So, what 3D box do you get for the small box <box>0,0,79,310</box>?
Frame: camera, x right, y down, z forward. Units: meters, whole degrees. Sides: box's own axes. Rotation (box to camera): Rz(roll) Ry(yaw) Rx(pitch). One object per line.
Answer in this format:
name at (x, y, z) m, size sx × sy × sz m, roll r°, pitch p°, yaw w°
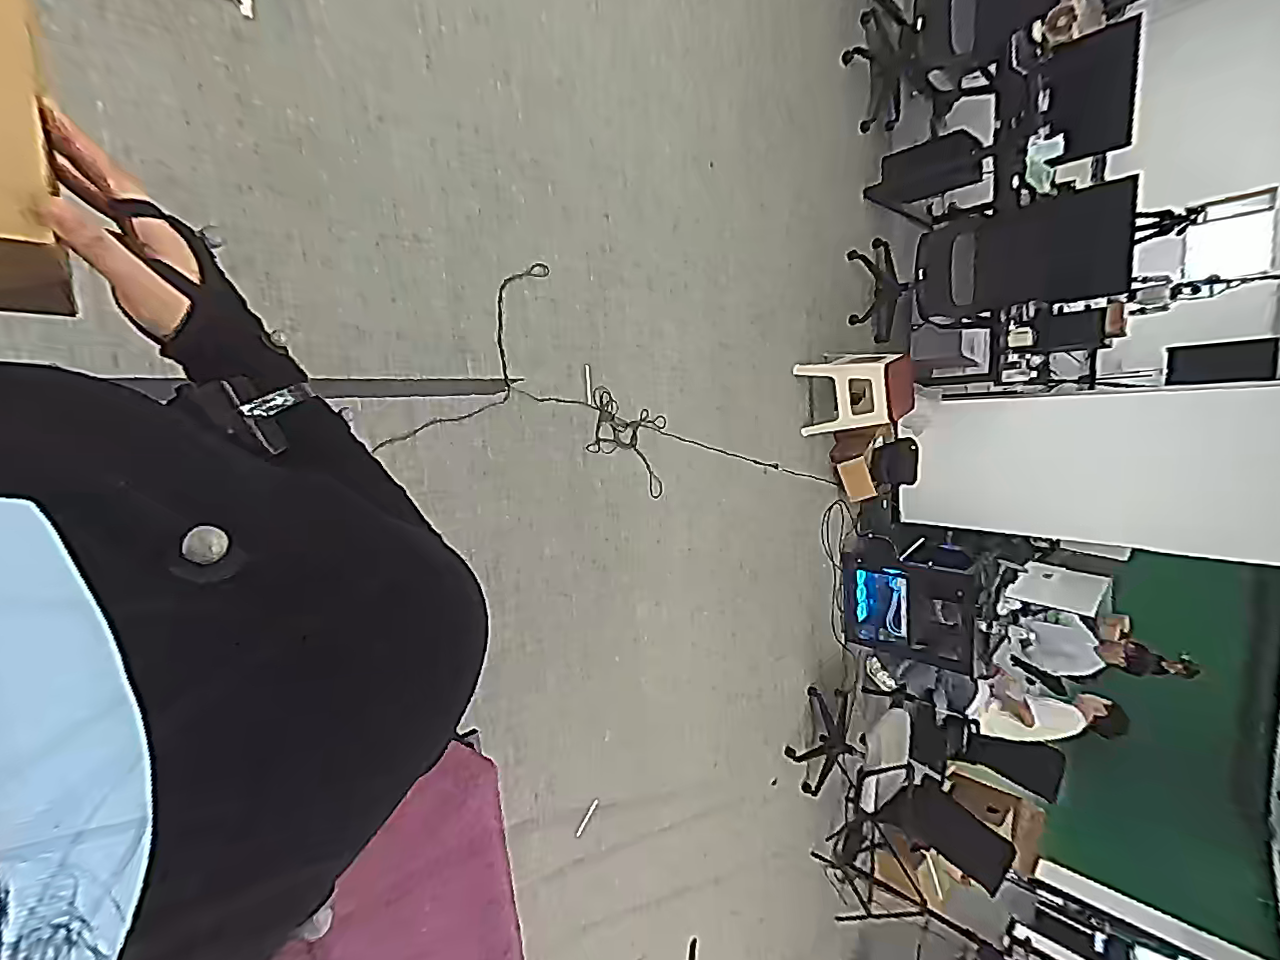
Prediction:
small box at (-0.446, -0.209, 0.306) m, size 0.168 × 0.176 × 0.179 m, roll -7°, pitch 92°, yaw -45°
